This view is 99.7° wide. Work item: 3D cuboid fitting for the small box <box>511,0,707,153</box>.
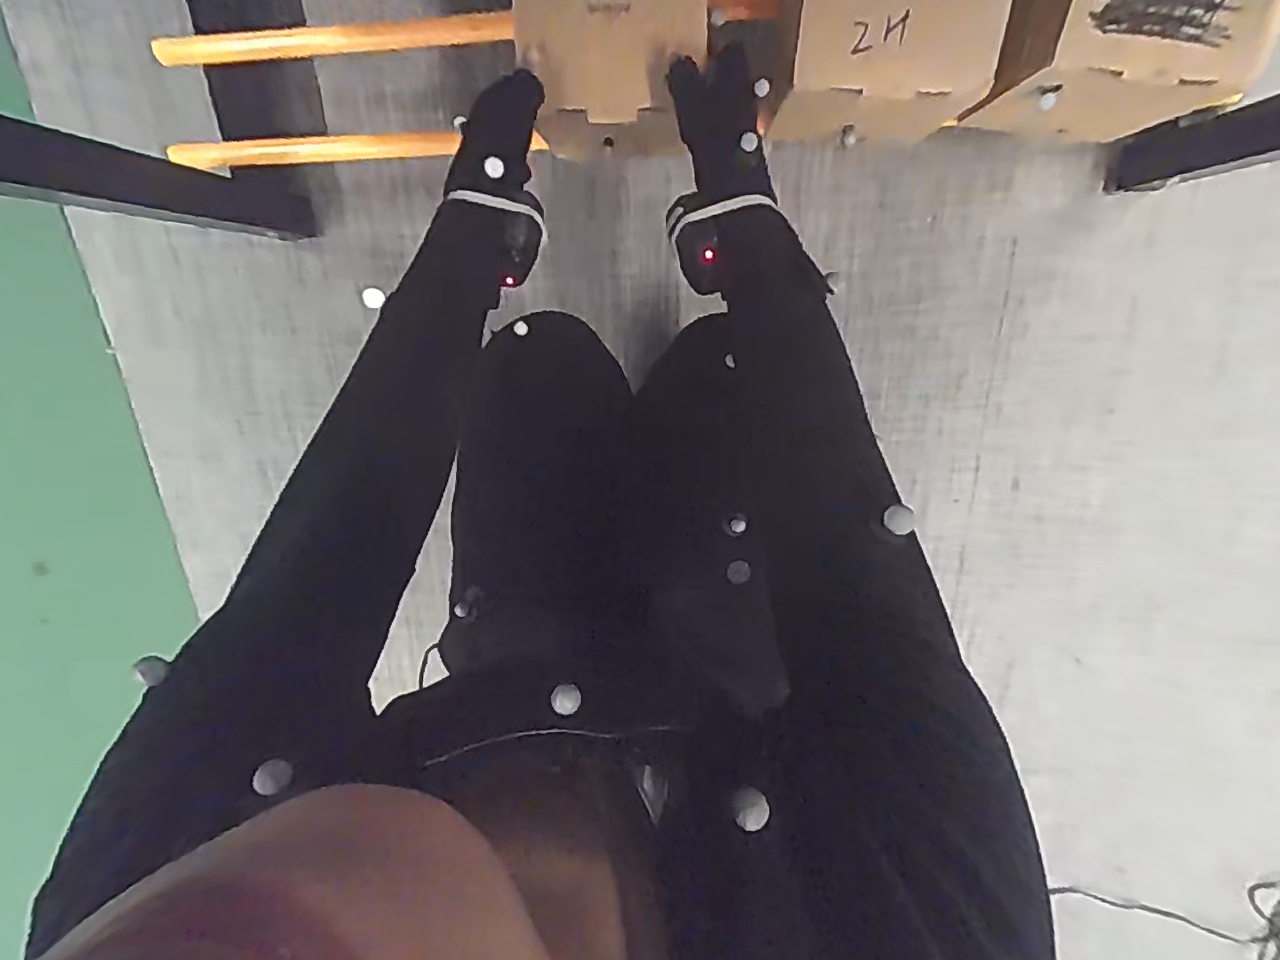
[{"bbox_3d":[-0.023,-0.434,0.519,0.168,0.176,0.179,1,110,3],"label":"small box"}]
